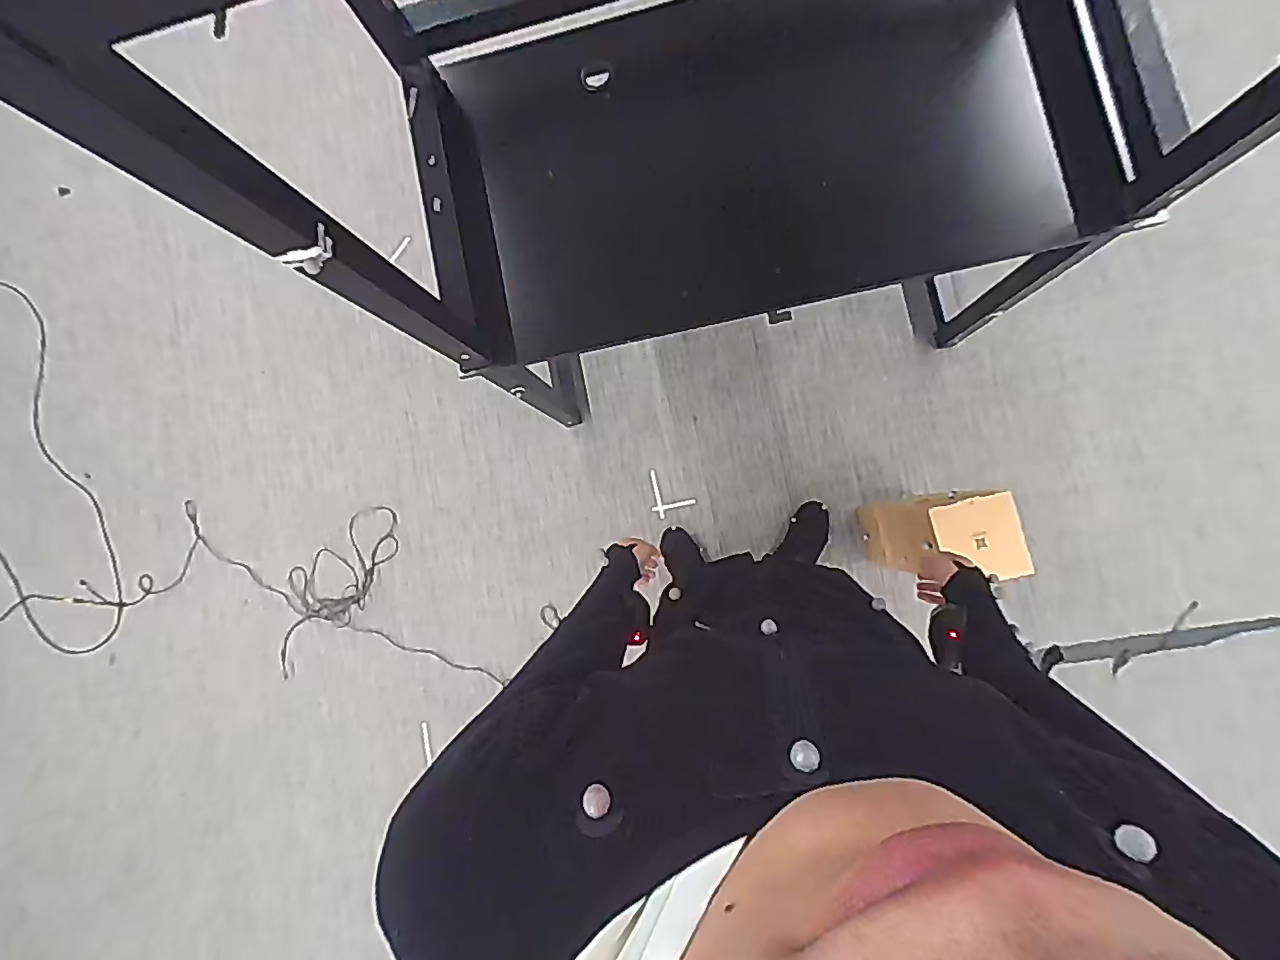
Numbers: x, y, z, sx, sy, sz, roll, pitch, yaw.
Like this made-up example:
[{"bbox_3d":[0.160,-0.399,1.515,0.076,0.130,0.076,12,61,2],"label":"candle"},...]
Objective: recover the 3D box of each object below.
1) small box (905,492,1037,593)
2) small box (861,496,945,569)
[{"bbox_3d":[0.701,0.128,1.165,0.168,0.176,0.179,-15,85,6],"label":"small box"},{"bbox_3d":[0.737,0.141,1.490,0.179,0.176,0.168,-13,85,7],"label":"small box"}]
